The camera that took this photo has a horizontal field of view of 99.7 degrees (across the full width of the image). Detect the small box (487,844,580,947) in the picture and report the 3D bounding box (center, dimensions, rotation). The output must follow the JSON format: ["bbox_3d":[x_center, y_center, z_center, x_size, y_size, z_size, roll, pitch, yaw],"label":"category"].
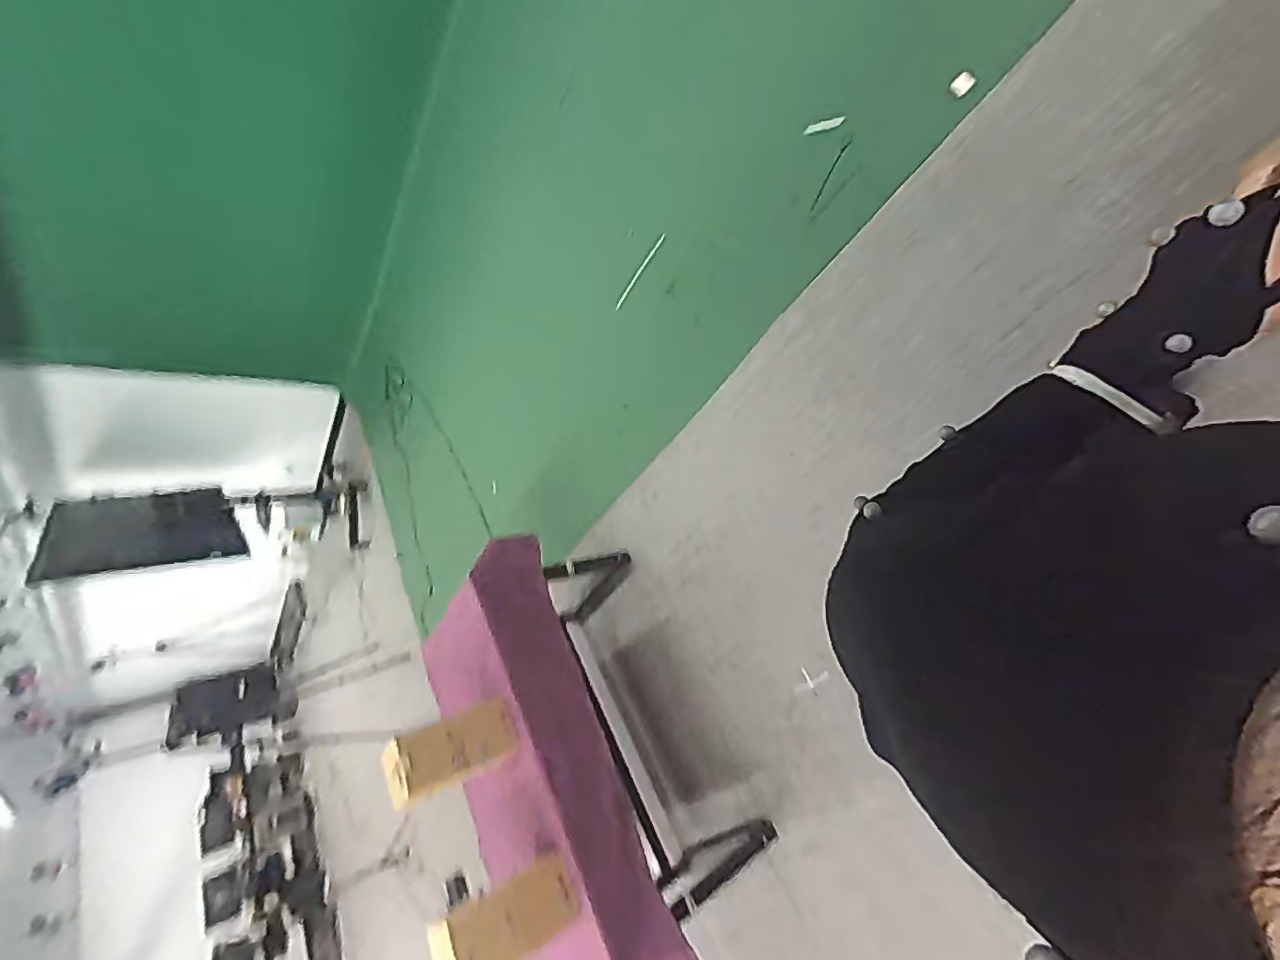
[{"bbox_3d":[-0.291,1.130,1.478,0.179,0.176,0.168,-45,61,39],"label":"small box"}]

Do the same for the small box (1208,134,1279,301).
[{"bbox_3d":[0.519,-0.188,0.306,0.179,0.168,0.176,35,87,0],"label":"small box"}]

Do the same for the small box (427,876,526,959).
[{"bbox_3d":[-0.413,1.138,1.366,0.179,0.176,0.168,-46,62,40],"label":"small box"}]

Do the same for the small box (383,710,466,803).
[{"bbox_3d":[-0.622,0.797,1.571,0.179,0.176,0.168,-52,56,38],"label":"small box"}]
